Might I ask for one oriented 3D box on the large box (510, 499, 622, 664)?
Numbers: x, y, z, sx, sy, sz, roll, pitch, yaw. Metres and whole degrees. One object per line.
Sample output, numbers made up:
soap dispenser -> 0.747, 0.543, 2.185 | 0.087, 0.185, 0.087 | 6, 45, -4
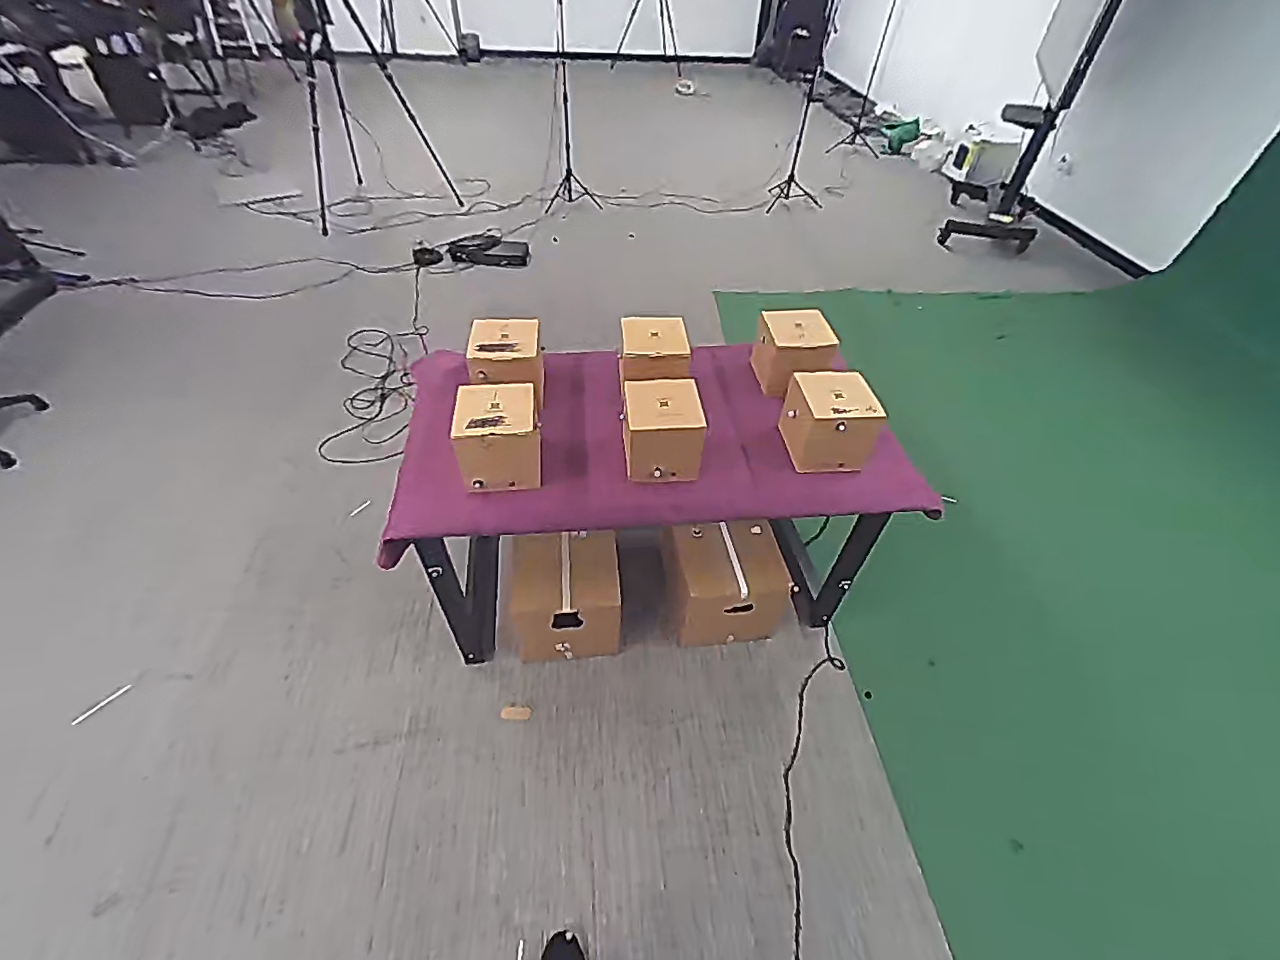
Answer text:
large box -> -0.230, 0.319, 1.722 | 0.320, 0.320, 0.408 | -3, 46, -6

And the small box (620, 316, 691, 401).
small box -> 0.033, -0.312, 1.422 | 0.168, 0.176, 0.179 | -2, 48, -5

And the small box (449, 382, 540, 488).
small box -> -0.312, -0.094, 1.195 | 0.168, 0.176, 0.179 | -4, 45, -7

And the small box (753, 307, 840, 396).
small box -> 0.415, -0.349, 1.468 | 0.168, 0.176, 0.179 | -4, 48, -4

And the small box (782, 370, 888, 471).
small box -> 0.446, -0.140, 1.274 | 0.168, 0.176, 0.179 | -3, 45, -4

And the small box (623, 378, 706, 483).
small box -> 0.048, -0.113, 1.232 | 0.168, 0.176, 0.179 | -3, 46, -4
